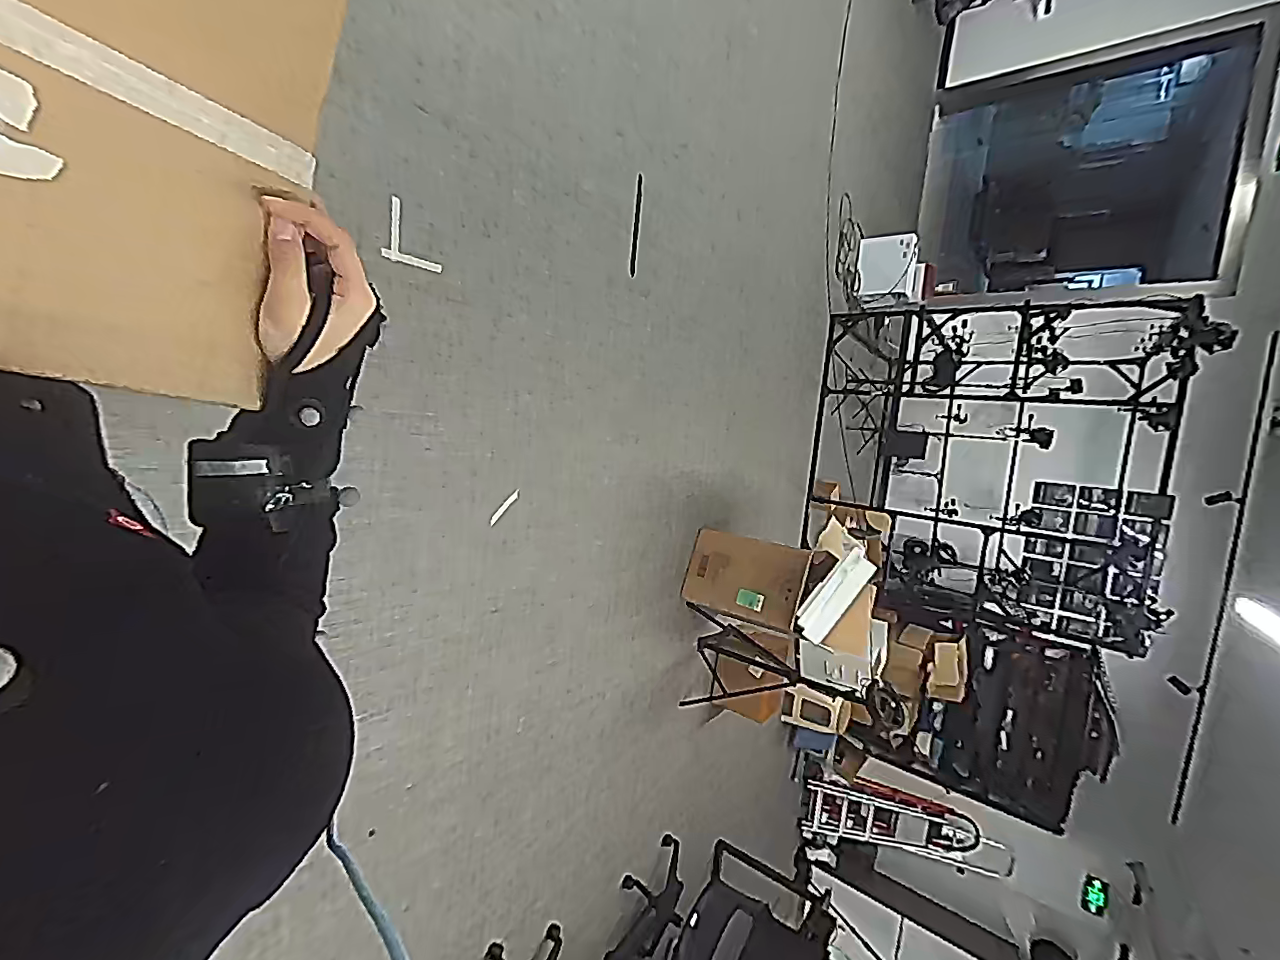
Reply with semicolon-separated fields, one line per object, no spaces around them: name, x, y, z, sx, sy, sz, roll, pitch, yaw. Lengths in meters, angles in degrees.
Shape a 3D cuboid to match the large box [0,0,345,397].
large box;-0.449;-0.252;0.283;0.408;0.320;0.320;7;100;-54
